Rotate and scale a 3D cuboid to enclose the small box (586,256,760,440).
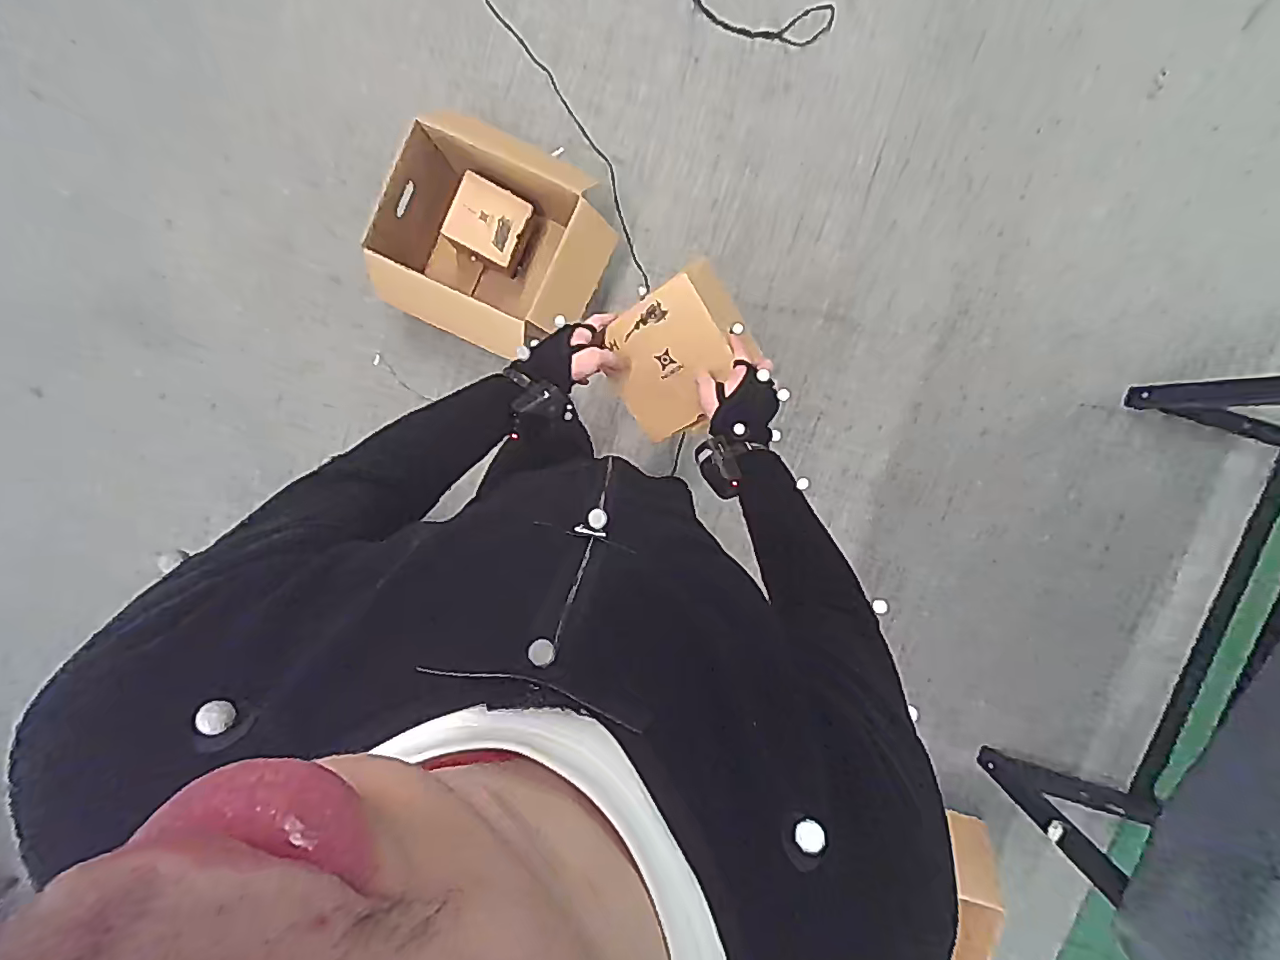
[{"bbox_3d":[0.059,-0.191,0.767,0.168,0.176,0.179,-26,108,27],"label":"small box"}]
